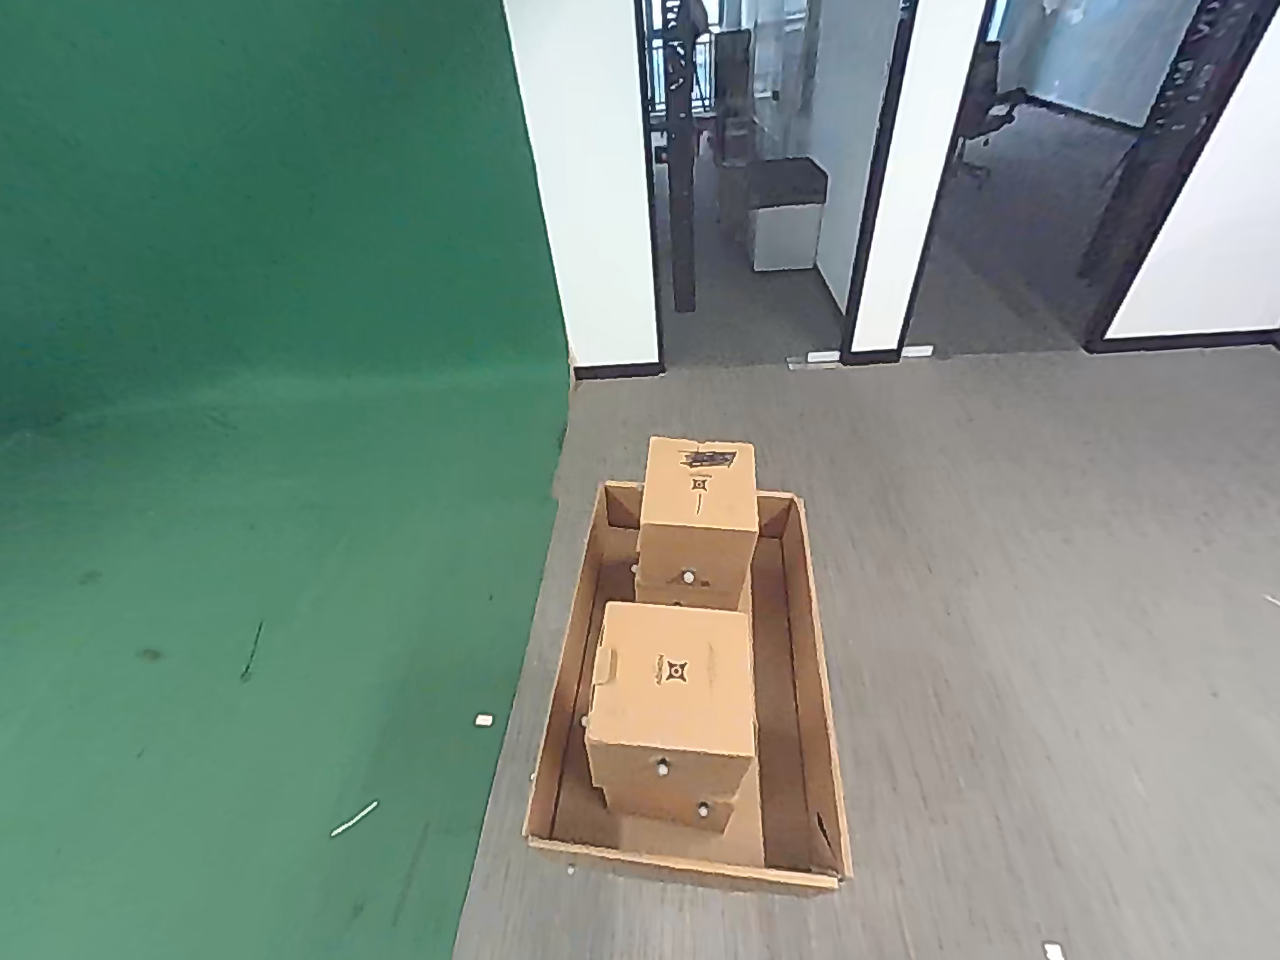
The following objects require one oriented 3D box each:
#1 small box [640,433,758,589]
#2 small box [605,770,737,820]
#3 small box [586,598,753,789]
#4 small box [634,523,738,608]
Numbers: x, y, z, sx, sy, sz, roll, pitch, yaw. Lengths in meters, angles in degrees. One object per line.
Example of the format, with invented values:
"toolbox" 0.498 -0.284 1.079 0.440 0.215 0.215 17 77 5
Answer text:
"small box" 0.090 0.050 0.860 0.168 0.176 0.179 4 49 4
"small box" 0.047 0.374 0.787 0.179 0.176 0.168 7 47 6
"small box" 0.036 0.266 0.667 0.179 0.176 0.168 4 48 2
"small box" 0.088 0.157 0.985 0.179 0.176 0.168 5 49 5
